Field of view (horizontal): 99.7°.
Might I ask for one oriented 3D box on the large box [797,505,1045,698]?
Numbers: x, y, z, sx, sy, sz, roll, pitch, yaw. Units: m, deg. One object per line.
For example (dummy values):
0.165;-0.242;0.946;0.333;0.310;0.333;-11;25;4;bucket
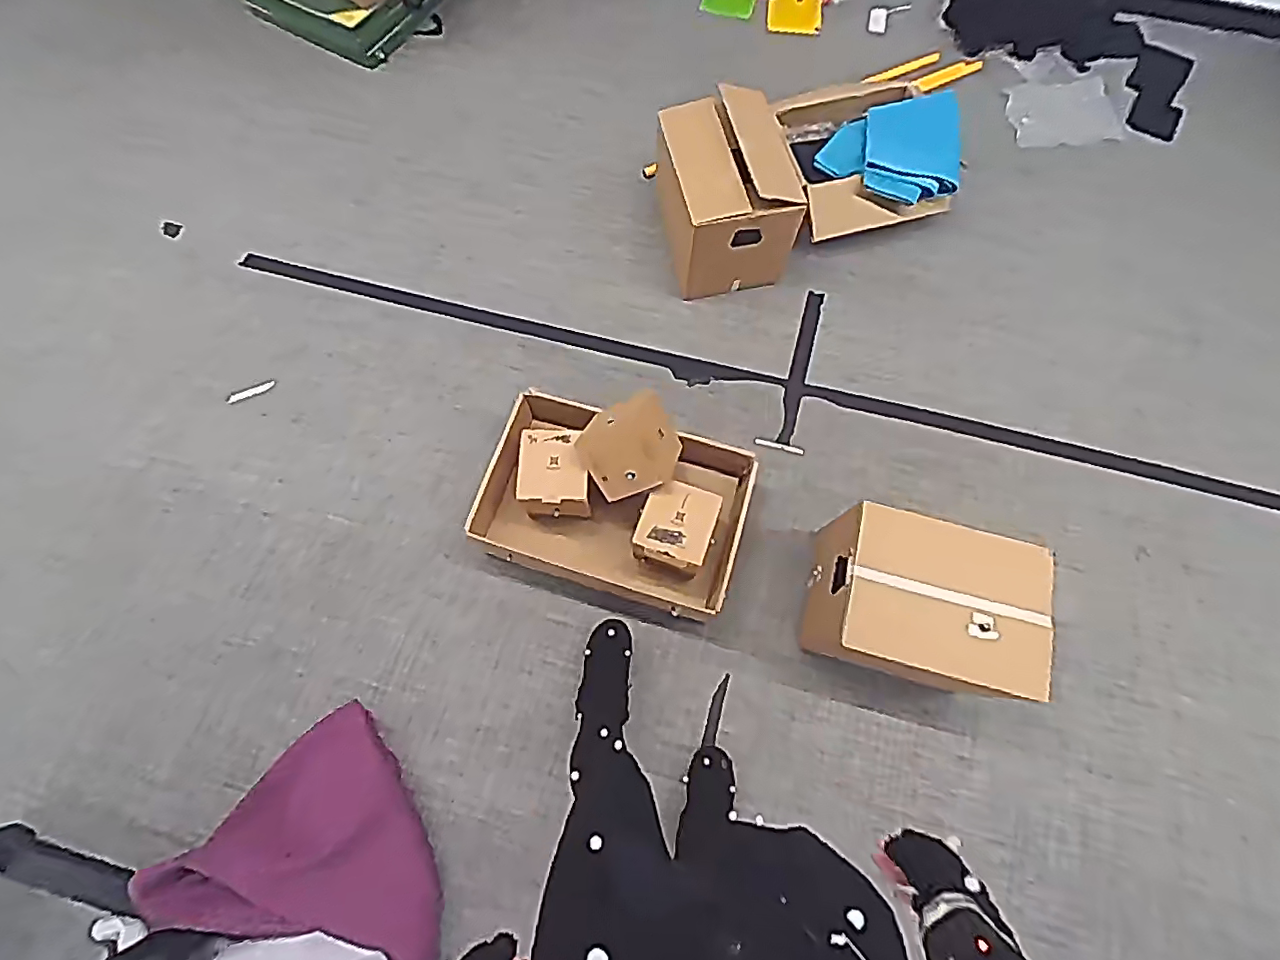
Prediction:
0.616;0.285;1.242;0.408;0.320;0.320;15;73;3;large box
